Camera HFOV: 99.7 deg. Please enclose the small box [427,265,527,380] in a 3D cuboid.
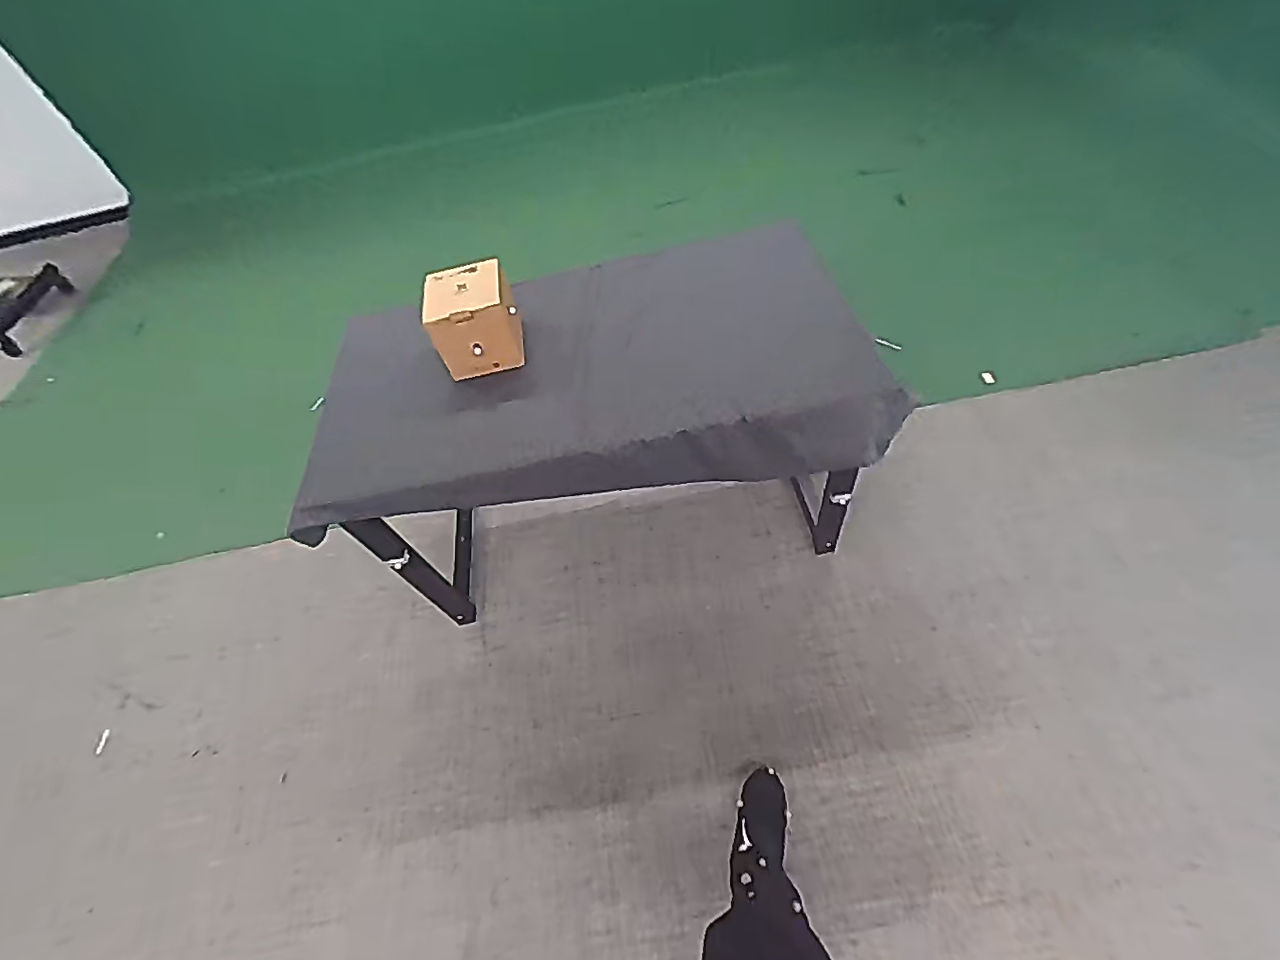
[{"bbox_3d":[-0.363,-0.346,1.219,0.168,0.176,0.179,-16,54,0],"label":"small box"}]
